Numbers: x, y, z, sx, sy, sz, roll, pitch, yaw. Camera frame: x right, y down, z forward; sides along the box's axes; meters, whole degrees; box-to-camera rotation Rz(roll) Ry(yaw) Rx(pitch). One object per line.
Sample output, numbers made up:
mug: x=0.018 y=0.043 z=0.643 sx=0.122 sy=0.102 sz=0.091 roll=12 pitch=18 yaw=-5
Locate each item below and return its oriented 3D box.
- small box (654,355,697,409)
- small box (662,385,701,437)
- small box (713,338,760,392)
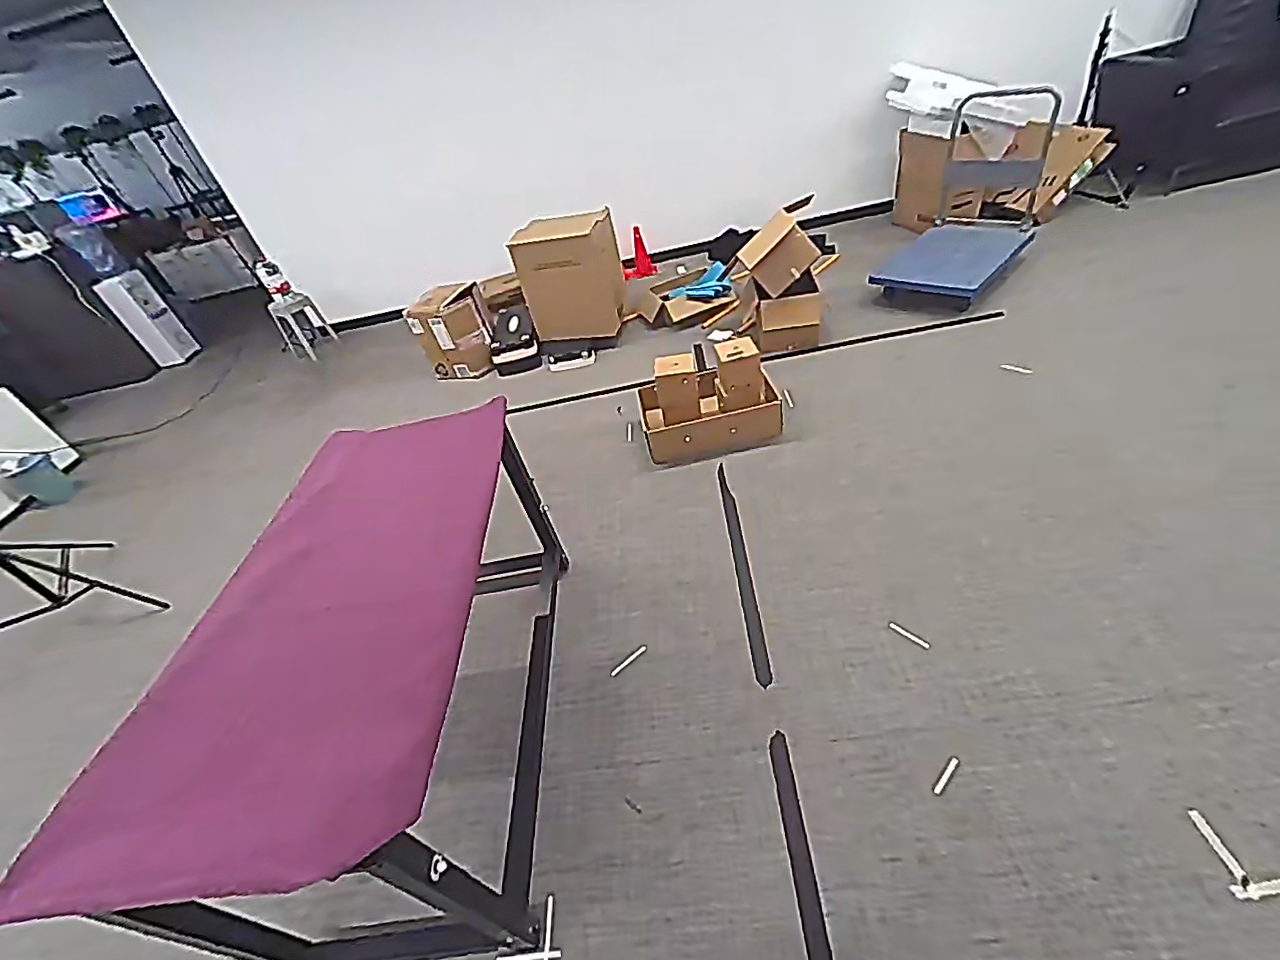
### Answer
small box: x=0.161 y=-0.436 z=2.419 sx=0.179 sy=0.176 sz=0.168 roll=-7 pitch=39 yaw=8
small box: x=0.195 y=-0.323 z=2.537 sx=0.168 sy=0.176 sz=0.179 roll=-5 pitch=40 yaw=10
small box: x=0.432 y=-0.505 z=2.411 sx=0.168 sy=0.176 sz=0.179 roll=-13 pitch=38 yaw=3
